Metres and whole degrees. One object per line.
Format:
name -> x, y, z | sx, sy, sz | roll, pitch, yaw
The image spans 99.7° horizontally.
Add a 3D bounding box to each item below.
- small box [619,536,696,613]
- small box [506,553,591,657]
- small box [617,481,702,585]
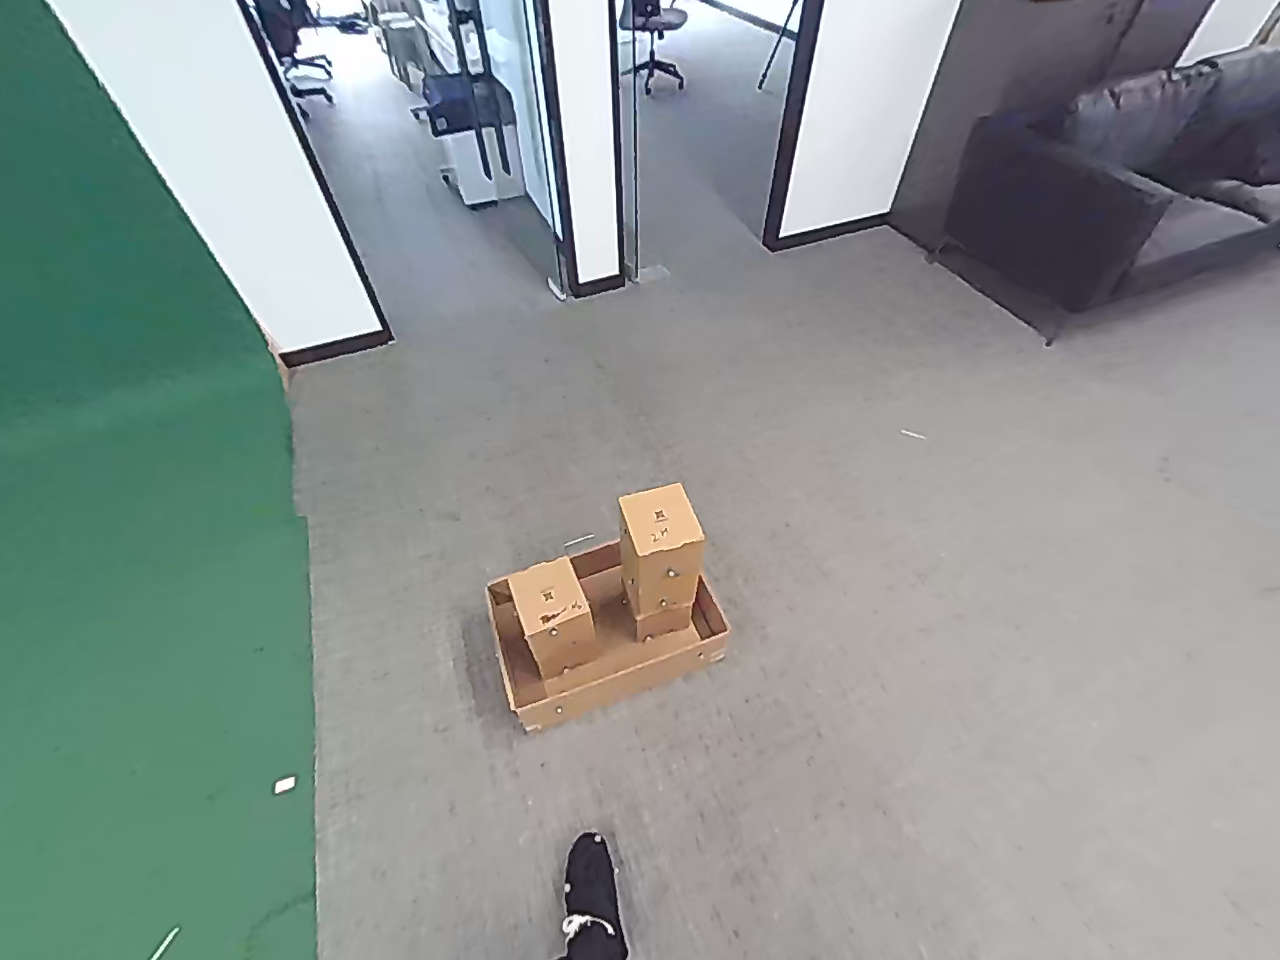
small box -> 0.040, 0.235, 1.479 | 0.168, 0.176, 0.179 | -13, 54, -11
small box -> -0.235, 0.326, 1.403 | 0.168, 0.176, 0.179 | -19, 54, -14
small box -> 0.042, 0.134, 1.348 | 0.168, 0.176, 0.179 | -13, 54, -10
